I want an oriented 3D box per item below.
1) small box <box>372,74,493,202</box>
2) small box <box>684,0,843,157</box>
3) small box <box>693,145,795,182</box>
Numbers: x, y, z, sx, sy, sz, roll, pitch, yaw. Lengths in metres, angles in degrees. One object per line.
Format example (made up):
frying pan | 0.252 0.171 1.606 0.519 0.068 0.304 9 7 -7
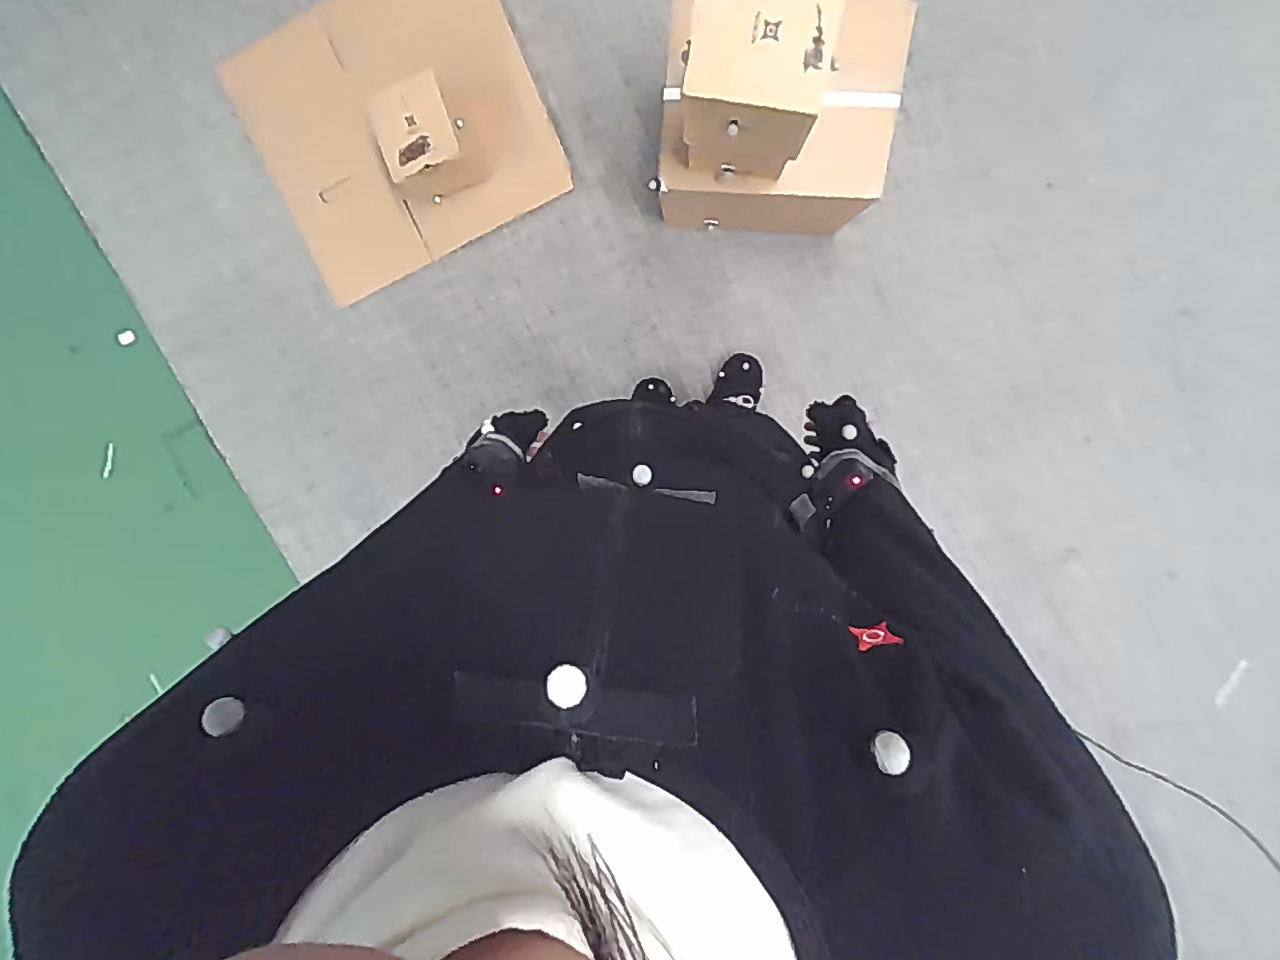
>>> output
small box | -0.456 -0.751 1.218 0.168 0.176 0.179 -17 99 10
small box | 0.159 -0.560 0.729 0.179 0.176 0.168 8 102 5
small box | 0.177 -0.611 0.882 0.168 0.176 0.179 8 105 6
